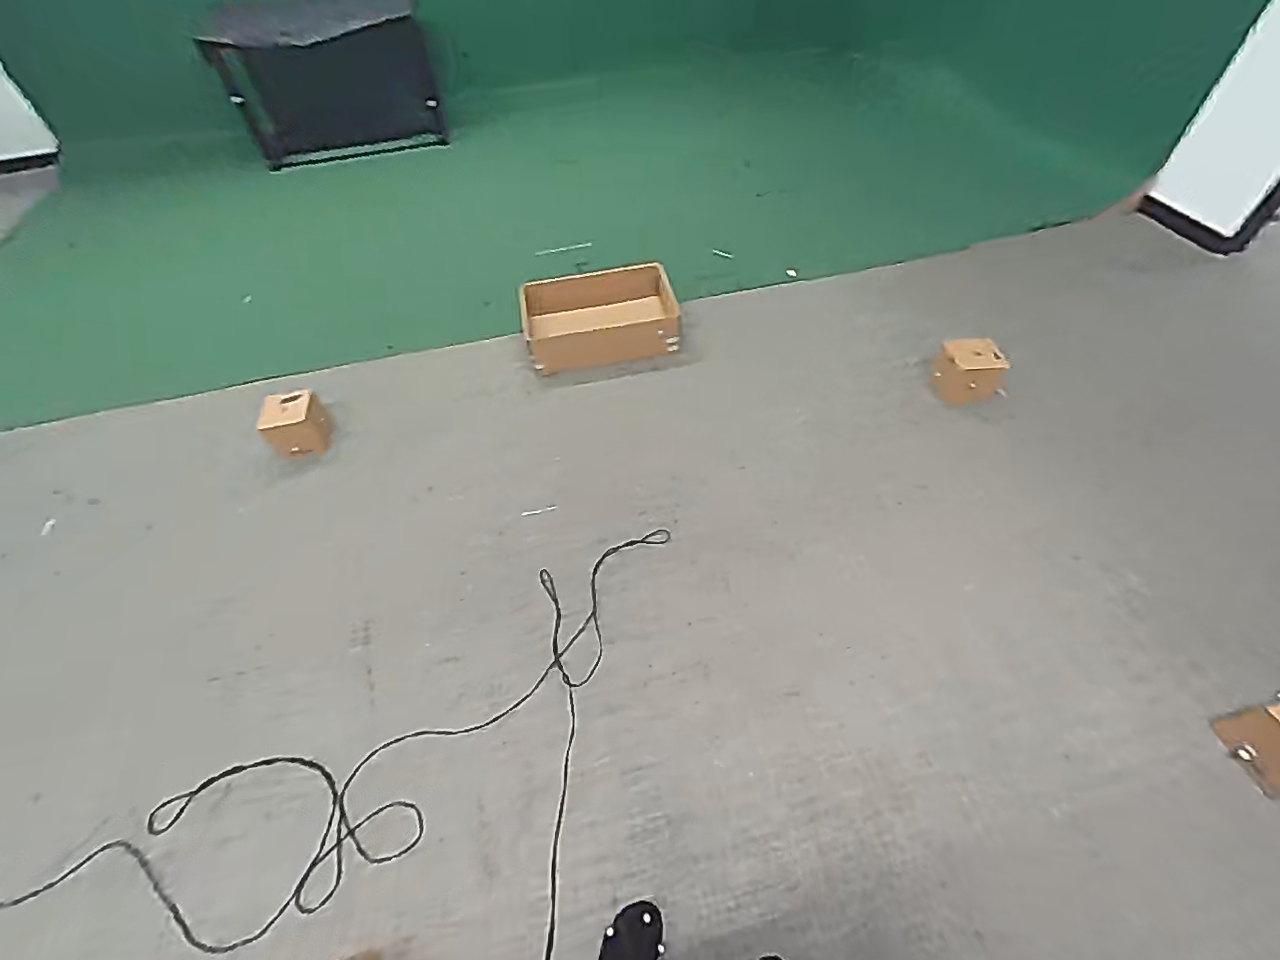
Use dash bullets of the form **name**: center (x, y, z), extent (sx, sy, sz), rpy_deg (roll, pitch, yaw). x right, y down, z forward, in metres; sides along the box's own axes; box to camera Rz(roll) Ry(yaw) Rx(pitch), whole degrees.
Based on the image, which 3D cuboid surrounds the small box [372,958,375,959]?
- **small box**: center (-0.586, 1.029, 0.996), extent (0.168, 0.176, 0.179), rpy_deg (-19, 52, -10)

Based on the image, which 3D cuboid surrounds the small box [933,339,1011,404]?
- **small box**: center (1.196, -0.392, 1.969), extent (0.179, 0.176, 0.168), rpy_deg (-3, 52, 3)

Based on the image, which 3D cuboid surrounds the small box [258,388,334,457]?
- **small box**: center (-1.267, -0.211, 2.008), extent (0.168, 0.176, 0.179), rpy_deg (-11, 53, -4)

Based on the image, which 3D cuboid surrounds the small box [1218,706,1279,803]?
- **small box**: center (1.469, 0.592, 1.192), extent (0.179, 0.176, 0.168), rpy_deg (-13, 51, -4)
